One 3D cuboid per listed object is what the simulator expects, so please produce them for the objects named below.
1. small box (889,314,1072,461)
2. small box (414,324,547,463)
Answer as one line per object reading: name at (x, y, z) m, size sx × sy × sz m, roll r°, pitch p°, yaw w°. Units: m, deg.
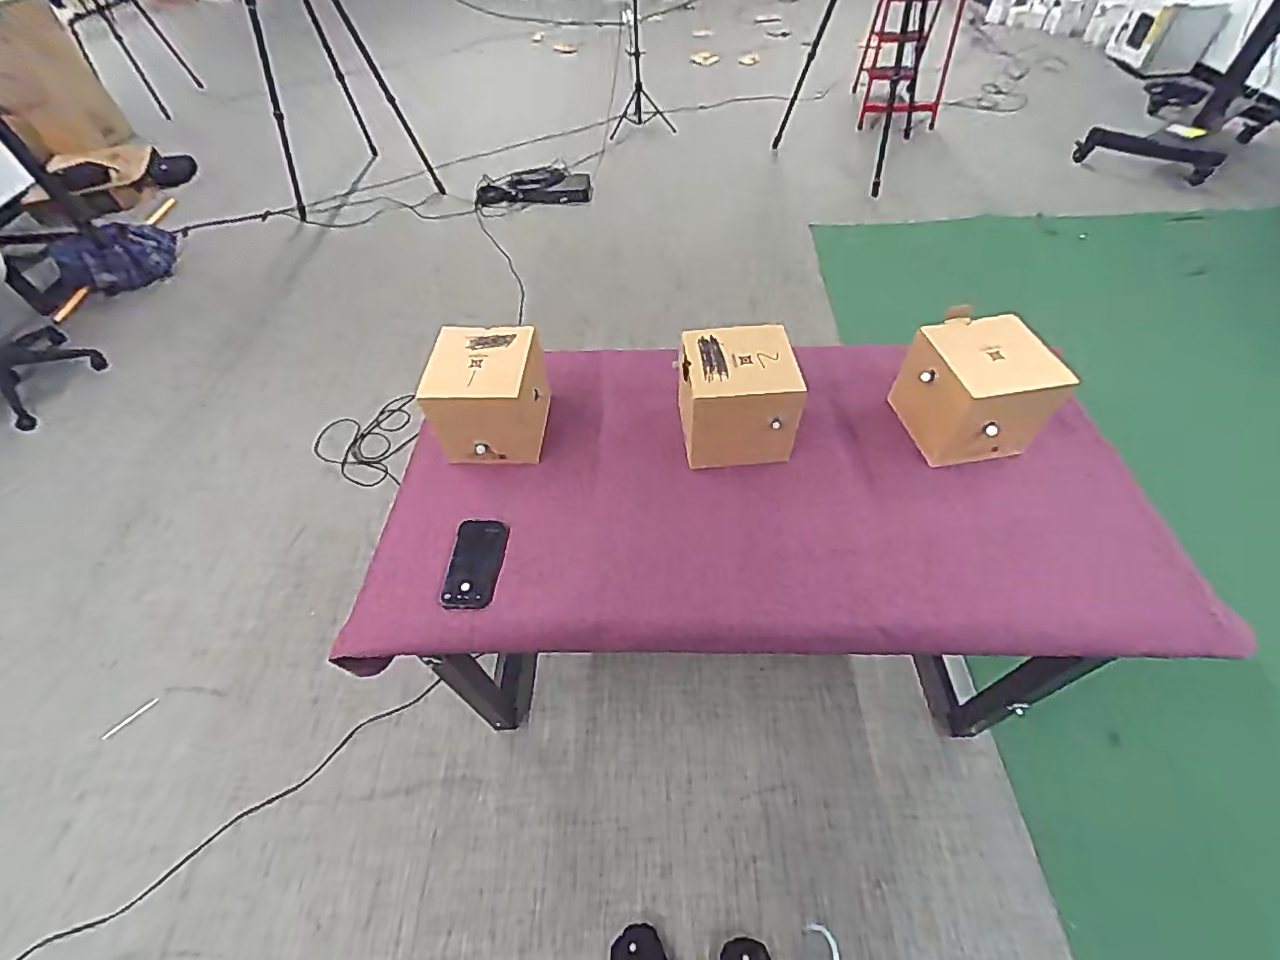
small box at (0.550, -0.146, 0.904) m, size 0.168 × 0.176 × 0.179 m, roll -9°, pitch 52°, yaw -3°
small box at (-0.263, -0.150, 0.944) m, size 0.168 × 0.176 × 0.179 m, roll 1°, pitch 54°, yaw 3°
